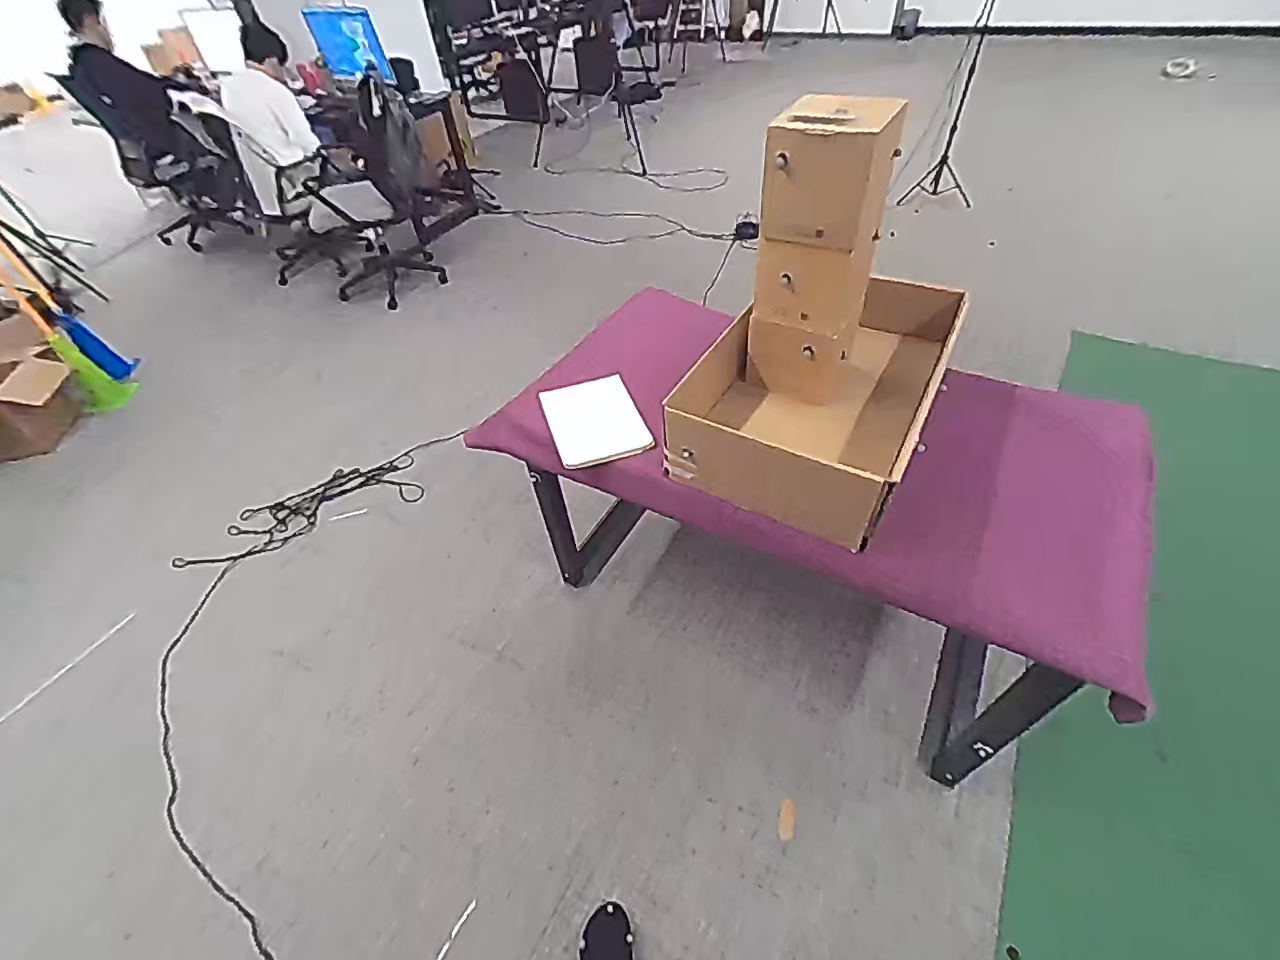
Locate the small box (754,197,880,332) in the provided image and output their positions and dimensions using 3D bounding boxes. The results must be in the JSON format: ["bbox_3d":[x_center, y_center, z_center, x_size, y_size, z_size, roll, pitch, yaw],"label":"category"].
[{"bbox_3d":[0.324,-0.402,1.014,0.168,0.176,0.179,23,55,25],"label":"small box"}]
